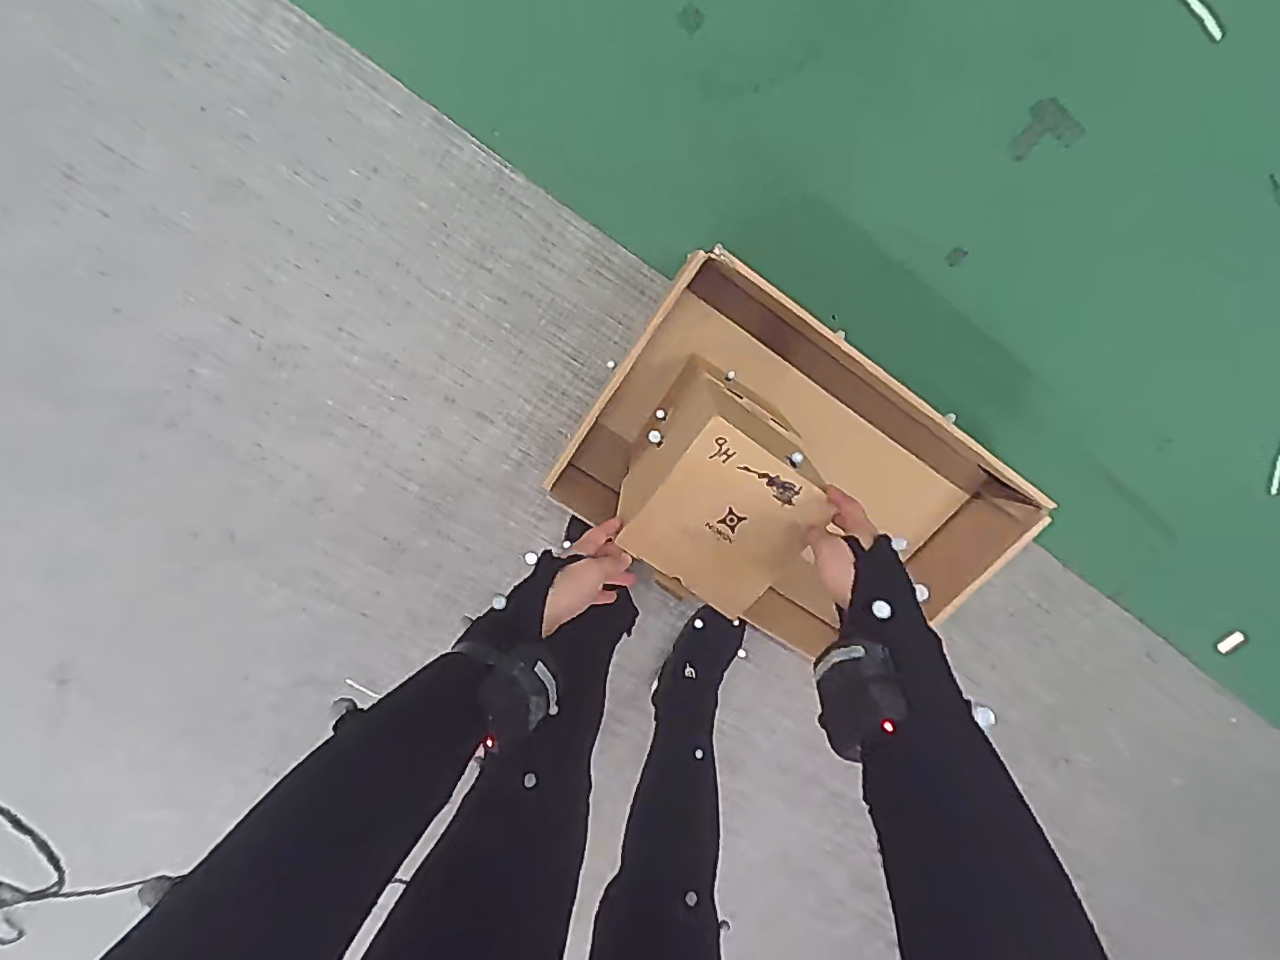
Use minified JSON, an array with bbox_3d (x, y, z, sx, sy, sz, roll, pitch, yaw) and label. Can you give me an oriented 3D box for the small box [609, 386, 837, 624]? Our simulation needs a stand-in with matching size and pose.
[{"bbox_3d":[0.087,0.020,0.620,0.168,0.176,0.179,35,110,-12],"label":"small box"}]
